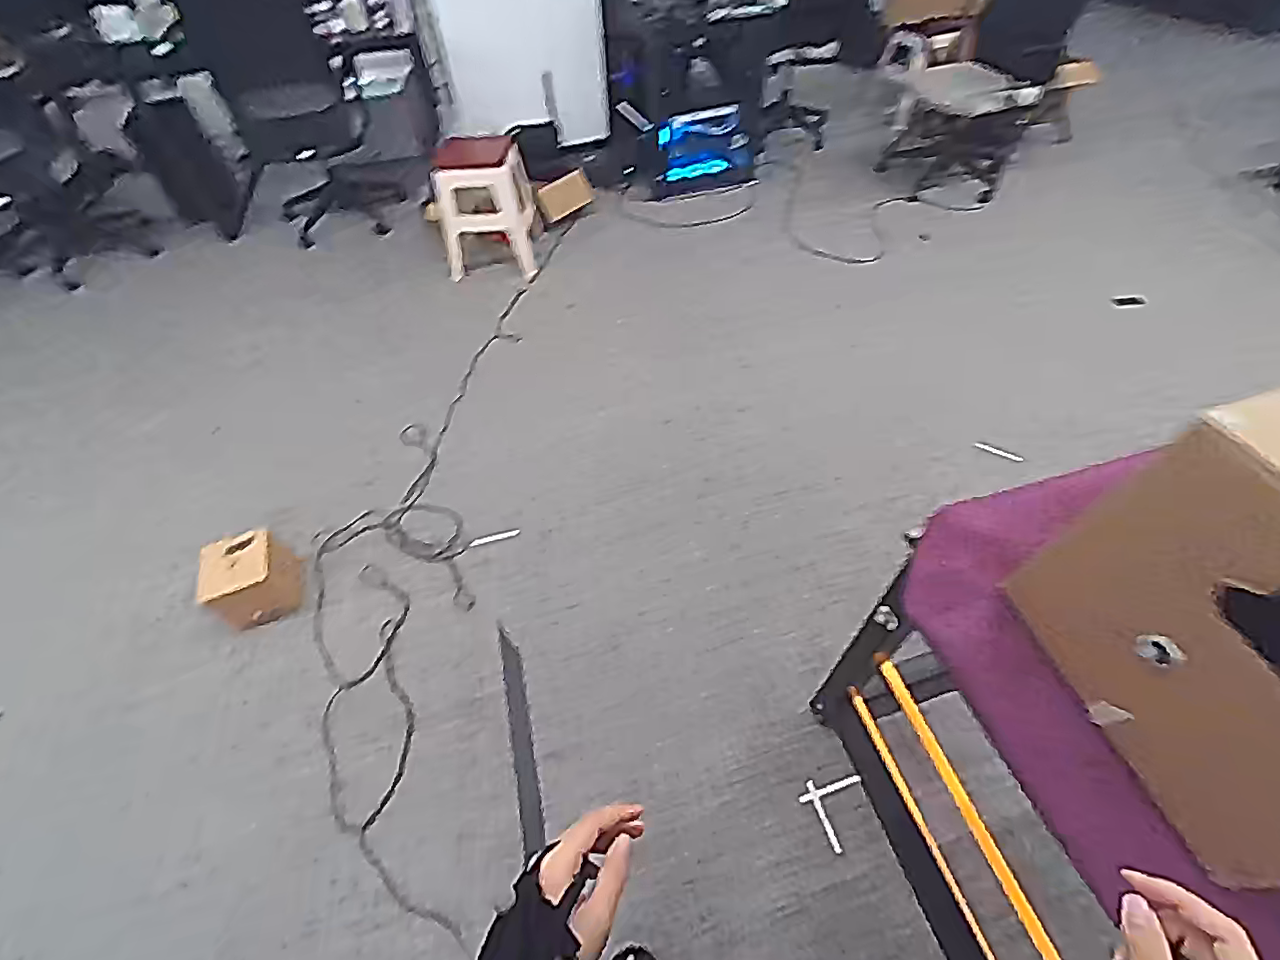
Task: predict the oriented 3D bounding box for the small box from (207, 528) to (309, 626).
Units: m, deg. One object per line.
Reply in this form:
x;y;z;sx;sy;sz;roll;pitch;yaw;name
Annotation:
-1.032;0.267;1.475;0.168;0.176;0.179;-20;54;-11;small box
